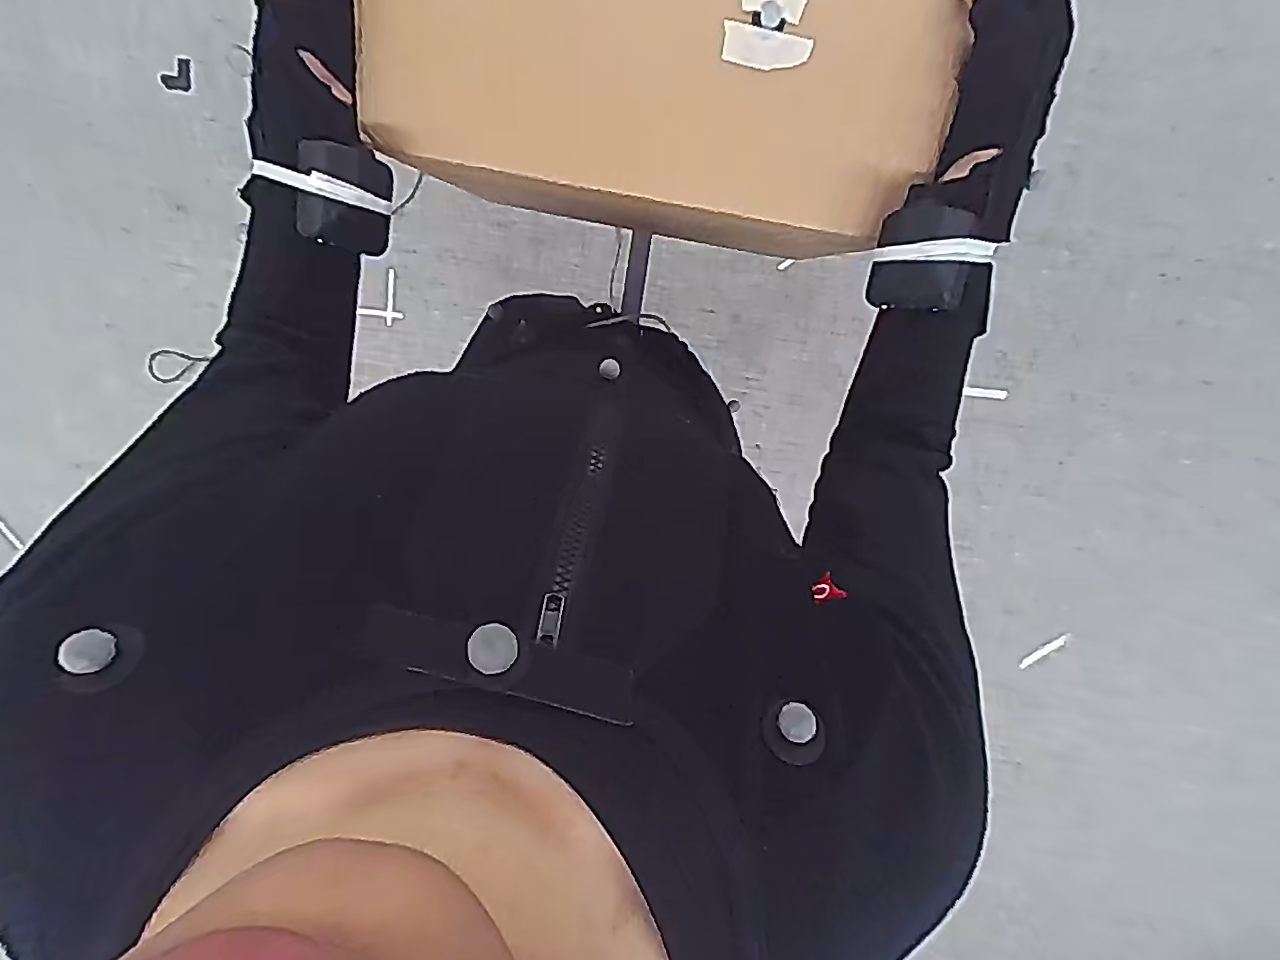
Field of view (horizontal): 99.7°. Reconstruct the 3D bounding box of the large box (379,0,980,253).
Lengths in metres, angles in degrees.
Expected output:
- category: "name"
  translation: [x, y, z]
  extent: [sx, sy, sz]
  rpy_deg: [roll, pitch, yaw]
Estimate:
- category: "large box"
  translation: [0.031, -0.404, 0.487]
  extent: [0.408, 0.320, 0.320]
  rpy_deg: [9, 111, -3]
